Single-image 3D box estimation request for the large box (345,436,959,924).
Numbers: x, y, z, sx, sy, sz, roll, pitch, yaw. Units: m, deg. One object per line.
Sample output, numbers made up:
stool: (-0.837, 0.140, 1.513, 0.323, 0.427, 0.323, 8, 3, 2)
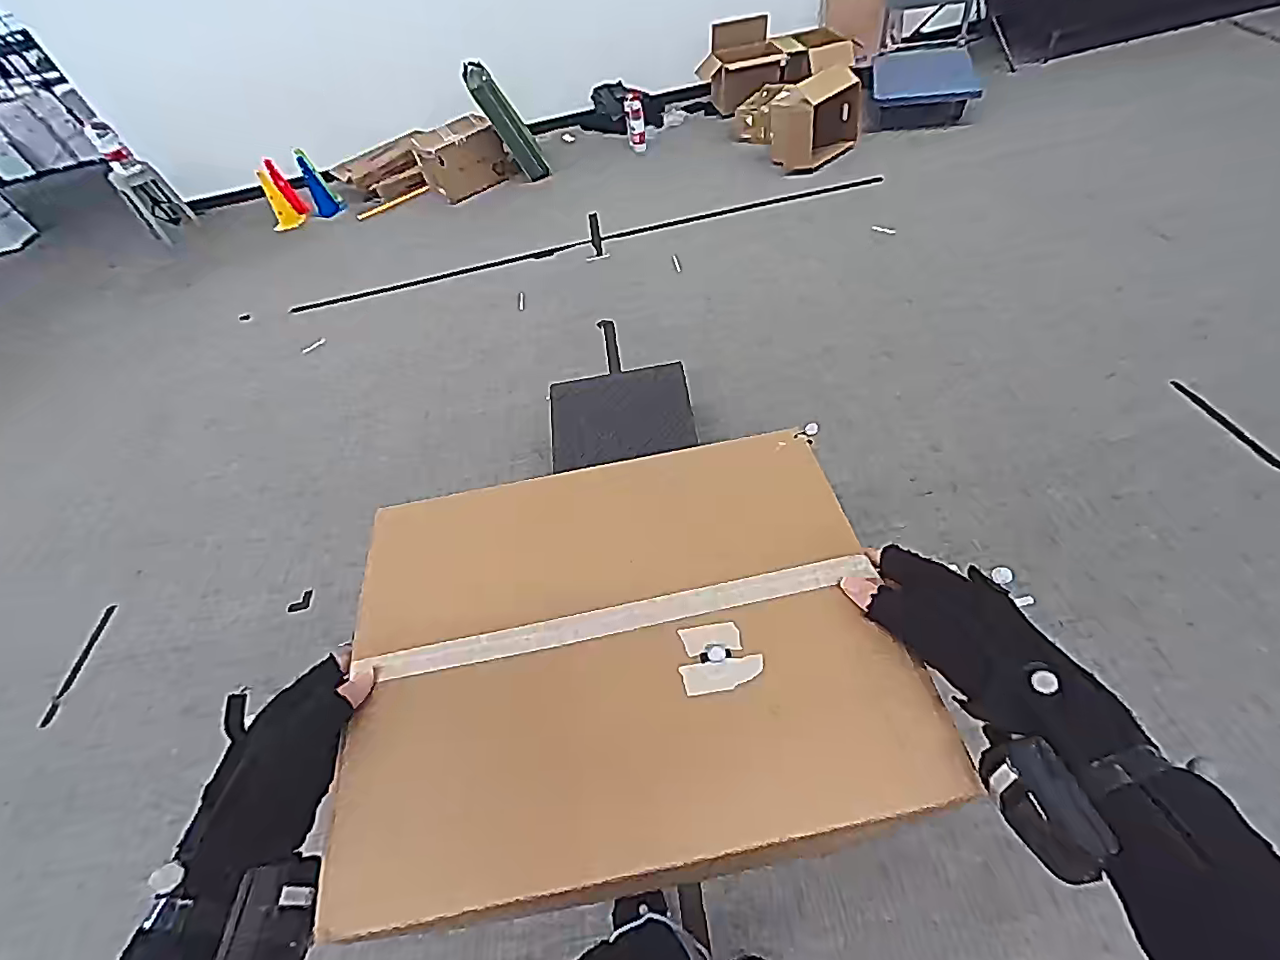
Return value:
large box: (-0.003, 0.202, 0.543, 0.408, 0.320, 0.320, -11, 52, -3)
